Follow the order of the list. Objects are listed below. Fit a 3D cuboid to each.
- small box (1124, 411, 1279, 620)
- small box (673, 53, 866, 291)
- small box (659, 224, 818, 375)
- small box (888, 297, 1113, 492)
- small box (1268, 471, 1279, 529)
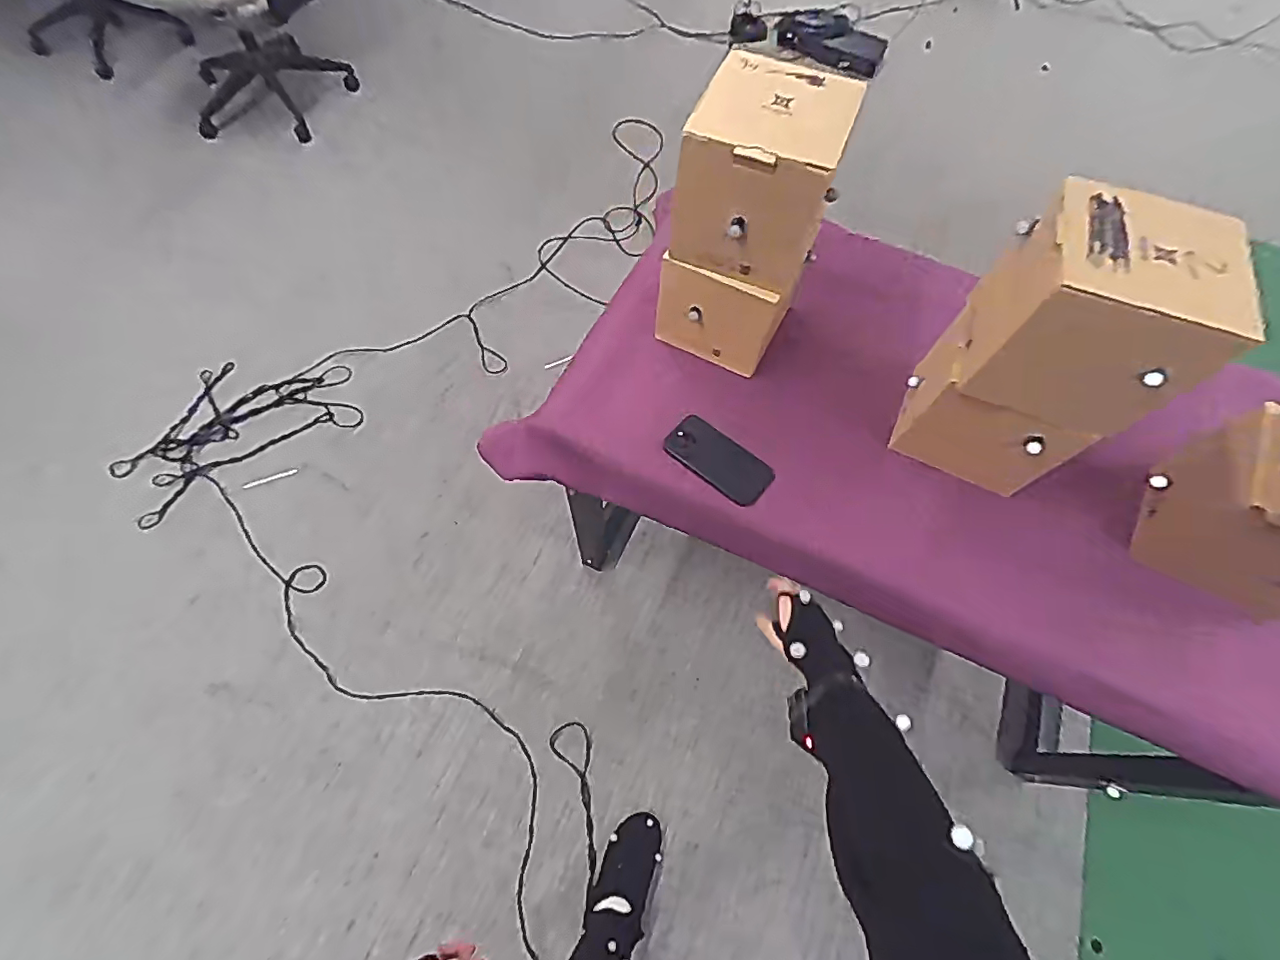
[{"bbox_3d":[0.768,0.054,0.666,0.179,0.176,0.168,32,67,13],"label":"small box"},{"bbox_3d":[0.146,-0.366,0.662,0.168,0.176,0.179,22,66,7],"label":"small box"},{"bbox_3d":[0.137,-0.288,0.806,0.168,0.176,0.179,27,66,10],"label":"small box"},{"bbox_3d":[0.473,-0.104,0.729,0.179,0.176,0.168,26,66,10],"label":"small box"},{"bbox_3d":[0.774,0.000,0.511,0.179,0.176,0.168,32,67,12],"label":"small box"}]
